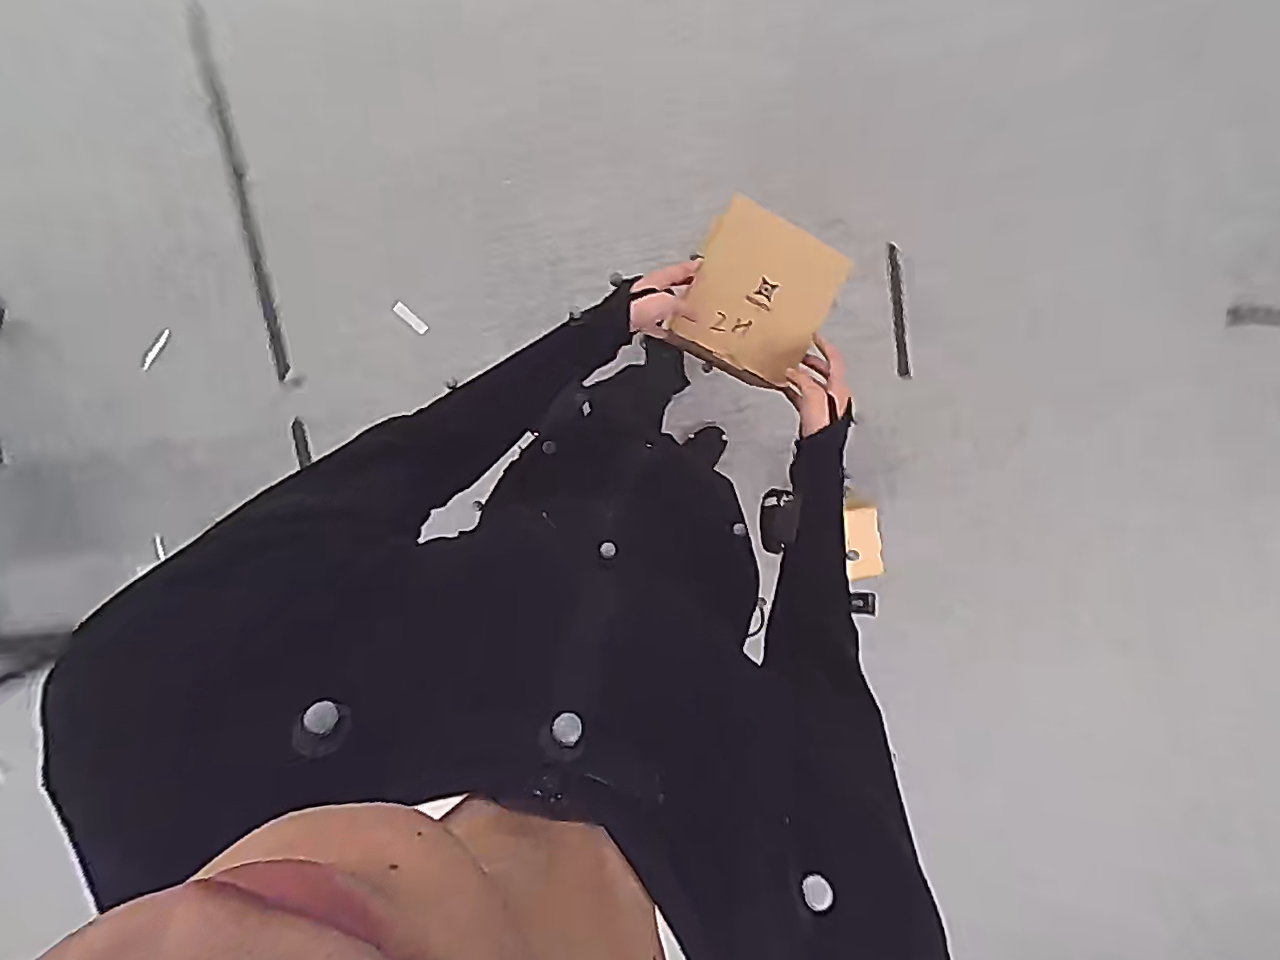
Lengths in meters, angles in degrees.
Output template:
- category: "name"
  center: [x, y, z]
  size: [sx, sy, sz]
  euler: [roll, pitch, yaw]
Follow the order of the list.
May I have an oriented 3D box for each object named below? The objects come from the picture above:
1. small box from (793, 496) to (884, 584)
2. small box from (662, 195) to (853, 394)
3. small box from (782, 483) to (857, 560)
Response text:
- category: "small box"
  center: [0.488, 0.146, 1.356]
  size: [0.179, 0.176, 0.168]
  euler: [-9, 100, 6]
- category: "small box"
  center: [0.138, -0.233, 0.717]
  size: [0.168, 0.176, 0.179]
  euler: [25, 100, -9]
- category: "small box"
  center: [0.503, 0.113, 1.515]
  size: [0.179, 0.176, 0.168]
  euler: [-10, 100, 6]
